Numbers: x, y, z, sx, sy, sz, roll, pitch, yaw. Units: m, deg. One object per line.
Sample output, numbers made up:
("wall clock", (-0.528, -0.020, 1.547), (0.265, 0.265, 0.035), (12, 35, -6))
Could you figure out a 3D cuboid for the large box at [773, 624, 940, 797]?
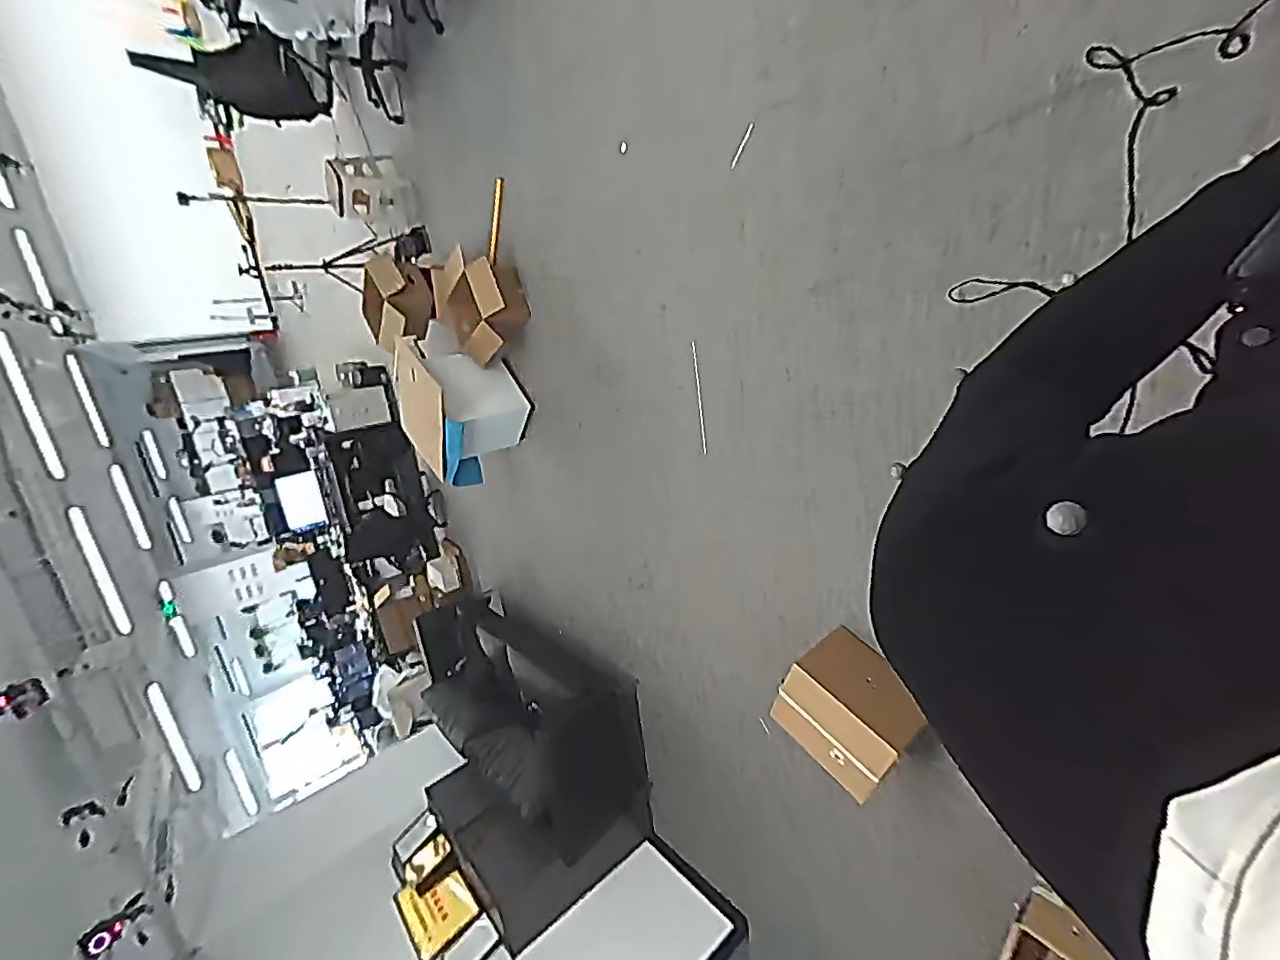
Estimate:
("large box", (0.757, 0.798, 1.925), (0.408, 0.320, 0.320), (37, 133, 35))
